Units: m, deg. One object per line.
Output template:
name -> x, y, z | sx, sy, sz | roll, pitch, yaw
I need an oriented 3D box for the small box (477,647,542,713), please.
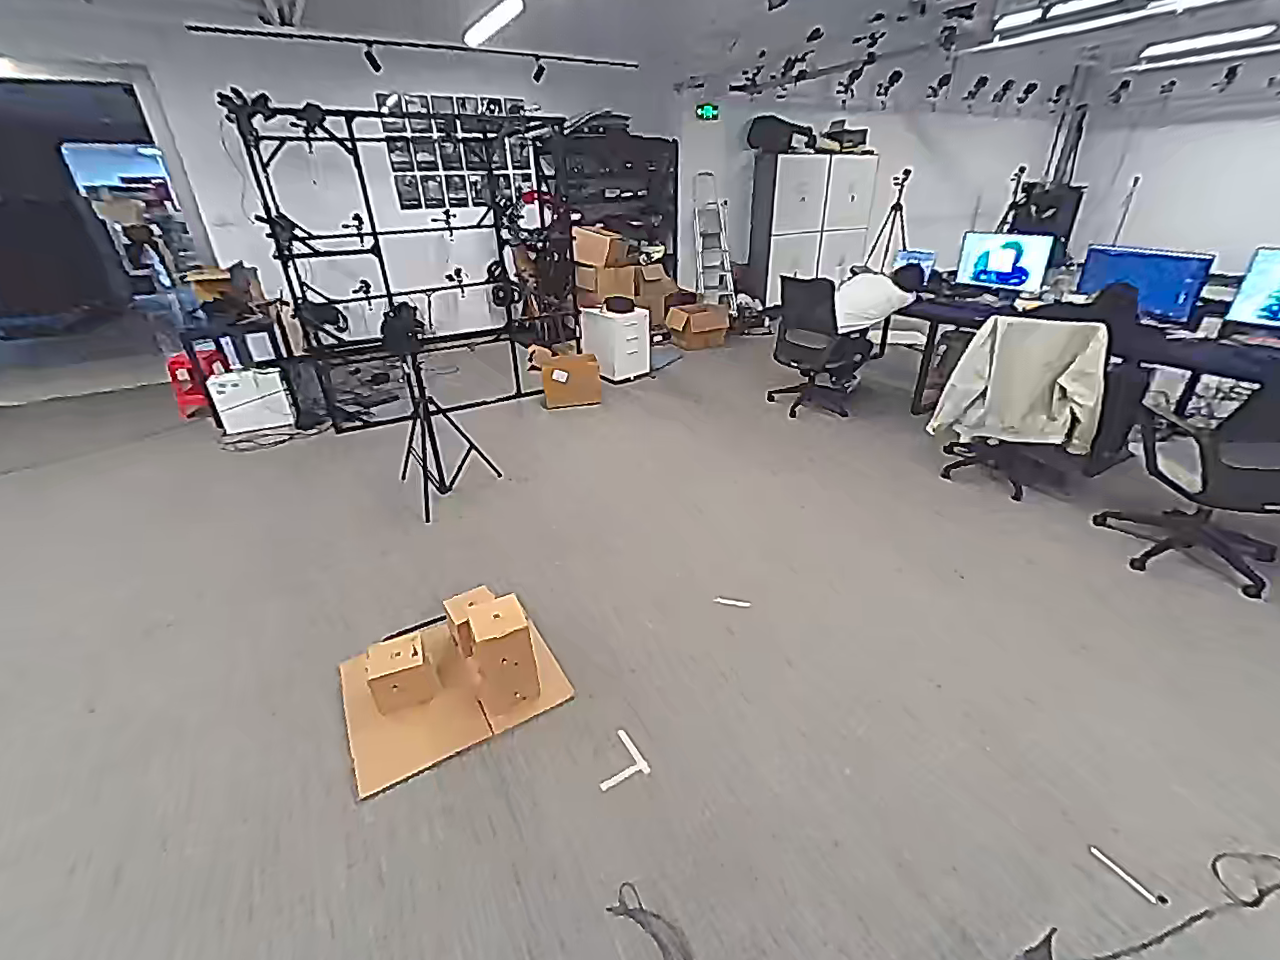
small box -> -0.450, 0.660, 1.866 | 0.168, 0.176, 0.179 | -18, 33, -25

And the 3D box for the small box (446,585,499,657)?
small box -> -0.626, 0.545, 2.092 | 0.179, 0.176, 0.168 | -20, 32, -30

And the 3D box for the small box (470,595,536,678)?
small box -> -0.453, 0.517, 1.789 | 0.168, 0.176, 0.179 | -15, 32, -23

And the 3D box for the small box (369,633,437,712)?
small box -> -0.816, 0.668, 1.871 | 0.179, 0.176, 0.168 | -14, 31, -17
